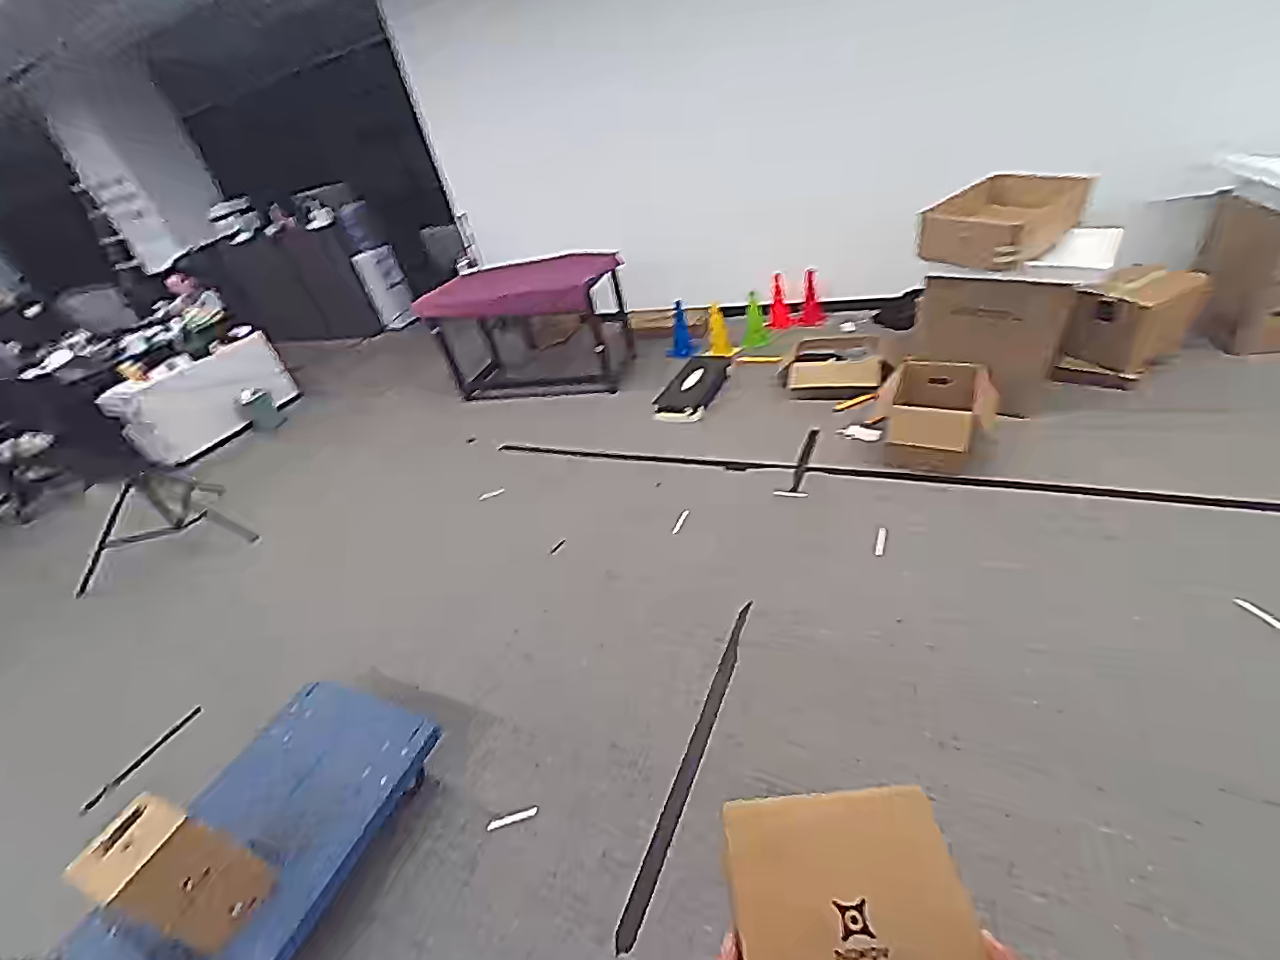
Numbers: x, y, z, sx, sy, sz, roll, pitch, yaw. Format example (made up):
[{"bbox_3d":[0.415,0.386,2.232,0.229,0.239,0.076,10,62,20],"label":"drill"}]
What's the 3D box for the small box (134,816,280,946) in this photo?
[{"bbox_3d":[-0.997,0.932,1.256,0.179,0.176,0.168,8,41,28],"label":"small box"}]
